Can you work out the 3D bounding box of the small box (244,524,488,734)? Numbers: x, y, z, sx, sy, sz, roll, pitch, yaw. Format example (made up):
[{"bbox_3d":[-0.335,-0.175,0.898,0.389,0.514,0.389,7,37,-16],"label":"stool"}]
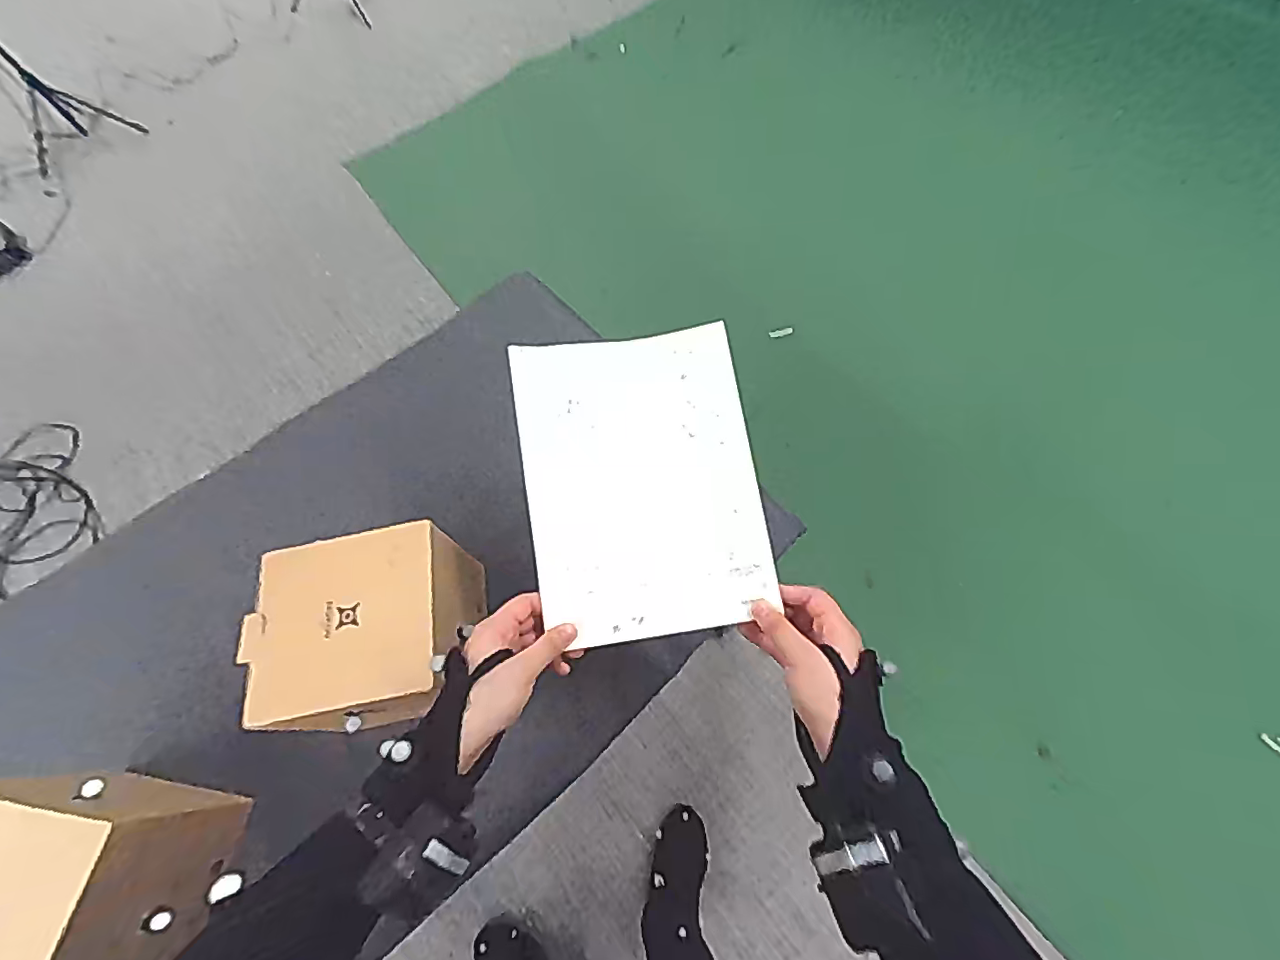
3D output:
[{"bbox_3d":[-0.271,0.164,0.579,0.179,0.176,0.168,-12,65,0],"label":"small box"}]

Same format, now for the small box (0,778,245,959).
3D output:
[{"bbox_3d":[-0.524,0.384,0.498,0.179,0.176,0.168,6,66,7],"label":"small box"}]
